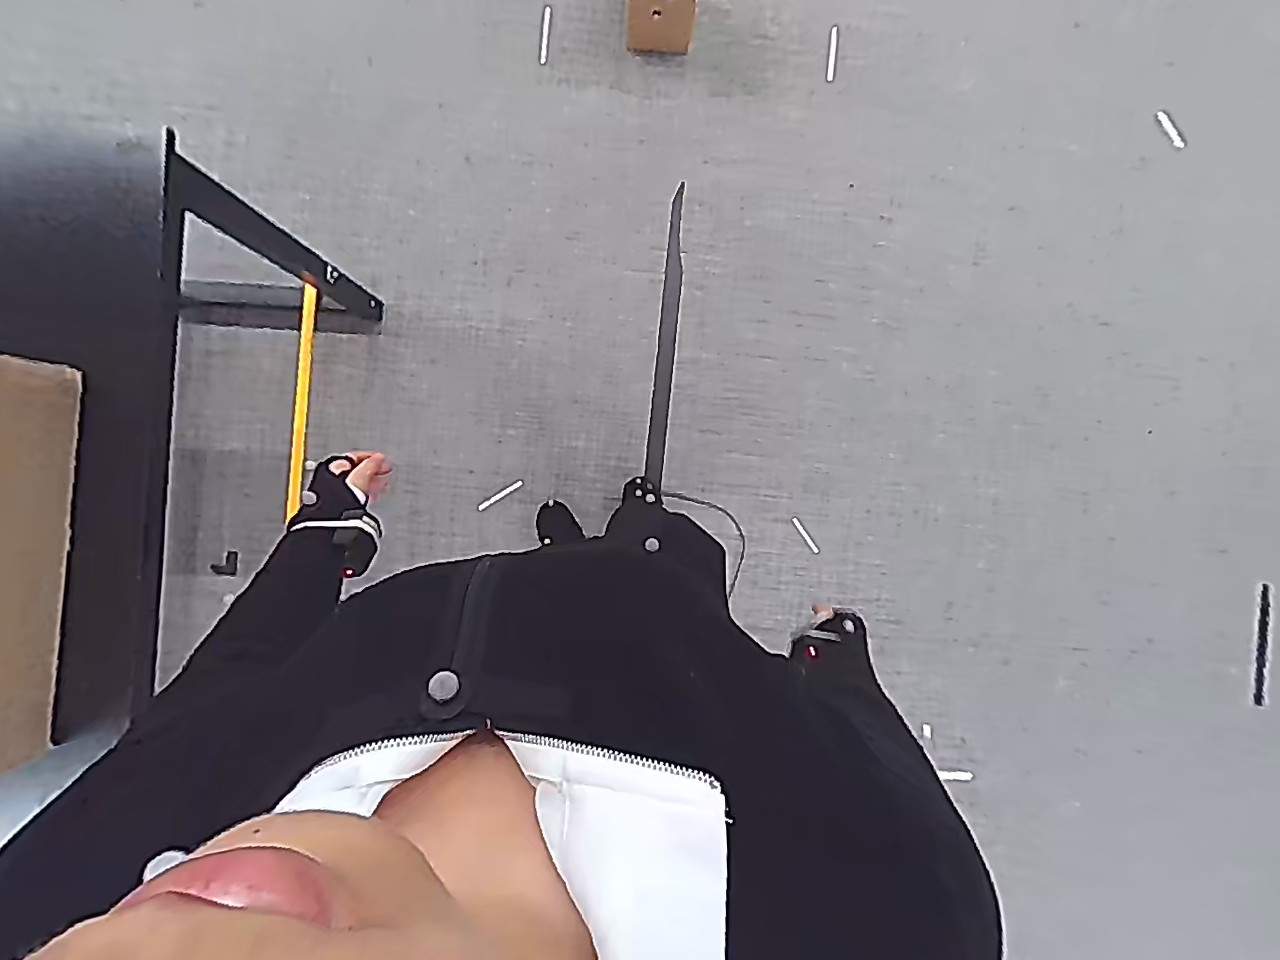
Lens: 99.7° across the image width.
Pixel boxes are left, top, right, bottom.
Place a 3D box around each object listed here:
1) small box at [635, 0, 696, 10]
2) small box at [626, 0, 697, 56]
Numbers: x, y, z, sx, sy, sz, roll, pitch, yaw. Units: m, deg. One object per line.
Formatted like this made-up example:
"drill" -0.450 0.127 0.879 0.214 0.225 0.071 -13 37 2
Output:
"small box" 0.067 -1.253 1.248 0.168 0.176 0.179 5 90 -3
"small box" 0.053 -1.253 1.412 0.179 0.176 0.168 1 90 -3
